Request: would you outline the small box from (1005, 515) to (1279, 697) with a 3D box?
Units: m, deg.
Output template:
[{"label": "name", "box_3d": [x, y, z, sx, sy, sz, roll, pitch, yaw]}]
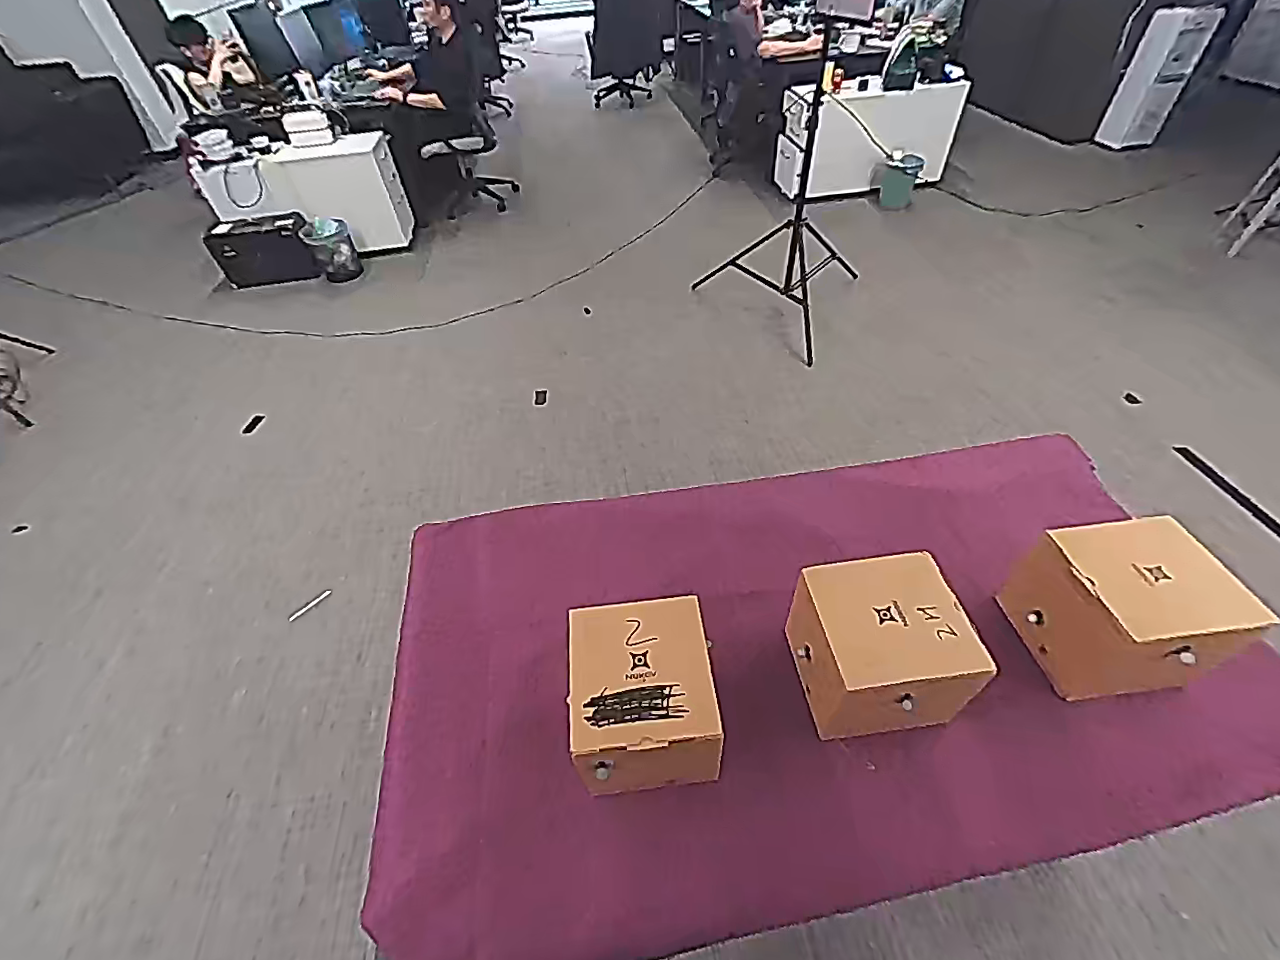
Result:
[{"label": "small box", "box_3d": [0.643, 0.171, 0.724, 0.179, 0.176, 0.168, -8, 46, -1]}]

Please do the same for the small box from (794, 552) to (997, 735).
[{"label": "small box", "box_3d": [0.311, 0.218, 0.710, 0.179, 0.176, 0.168, -7, 47, -2]}]
